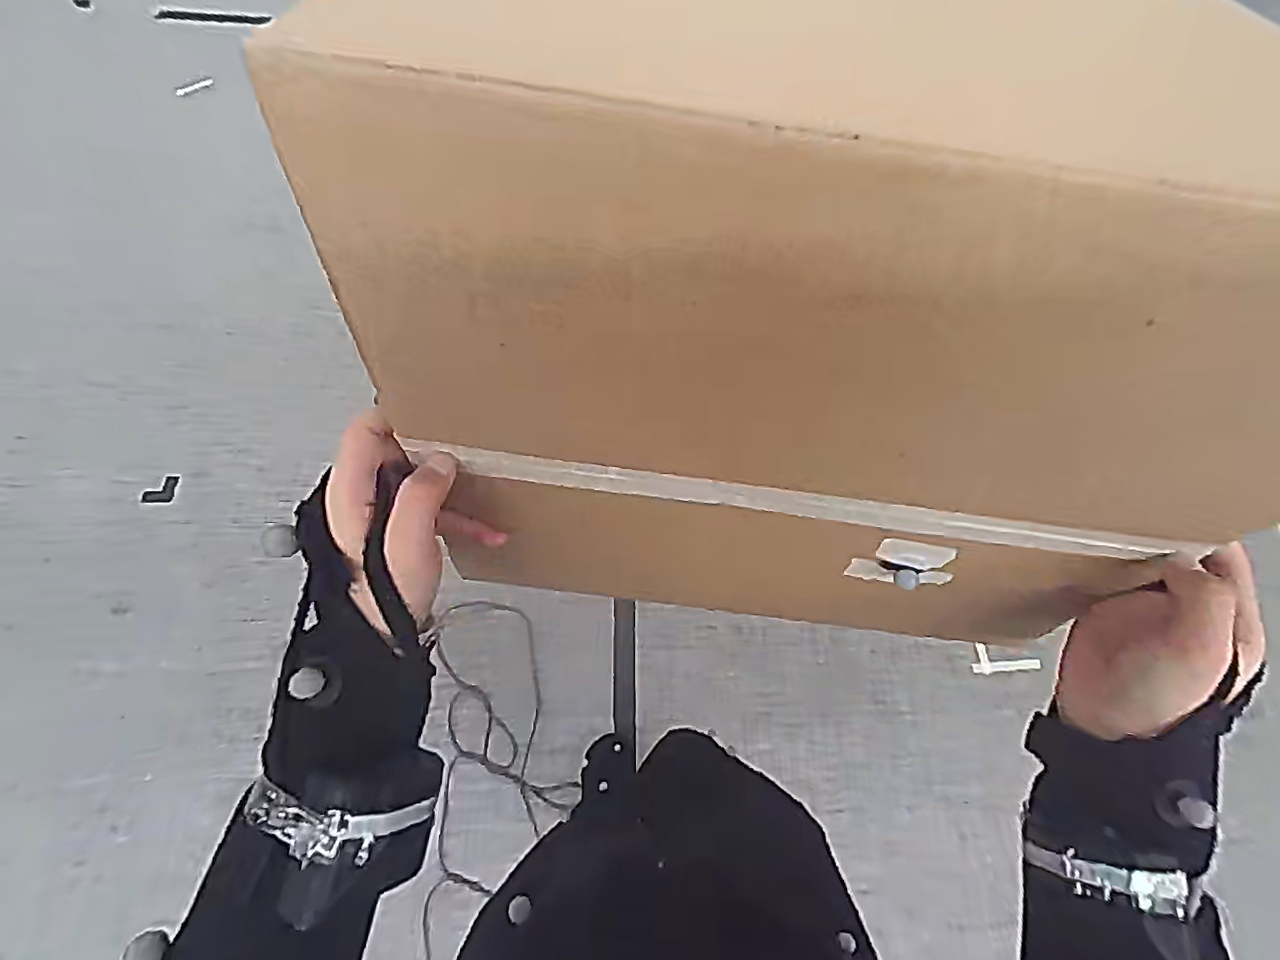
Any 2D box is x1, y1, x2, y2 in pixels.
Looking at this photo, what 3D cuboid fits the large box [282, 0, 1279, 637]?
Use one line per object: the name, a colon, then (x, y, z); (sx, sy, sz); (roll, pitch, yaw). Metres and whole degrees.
large box: (0.093, -0.113, 0.358); (0.408, 0.320, 0.320); (7, 56, -2)
